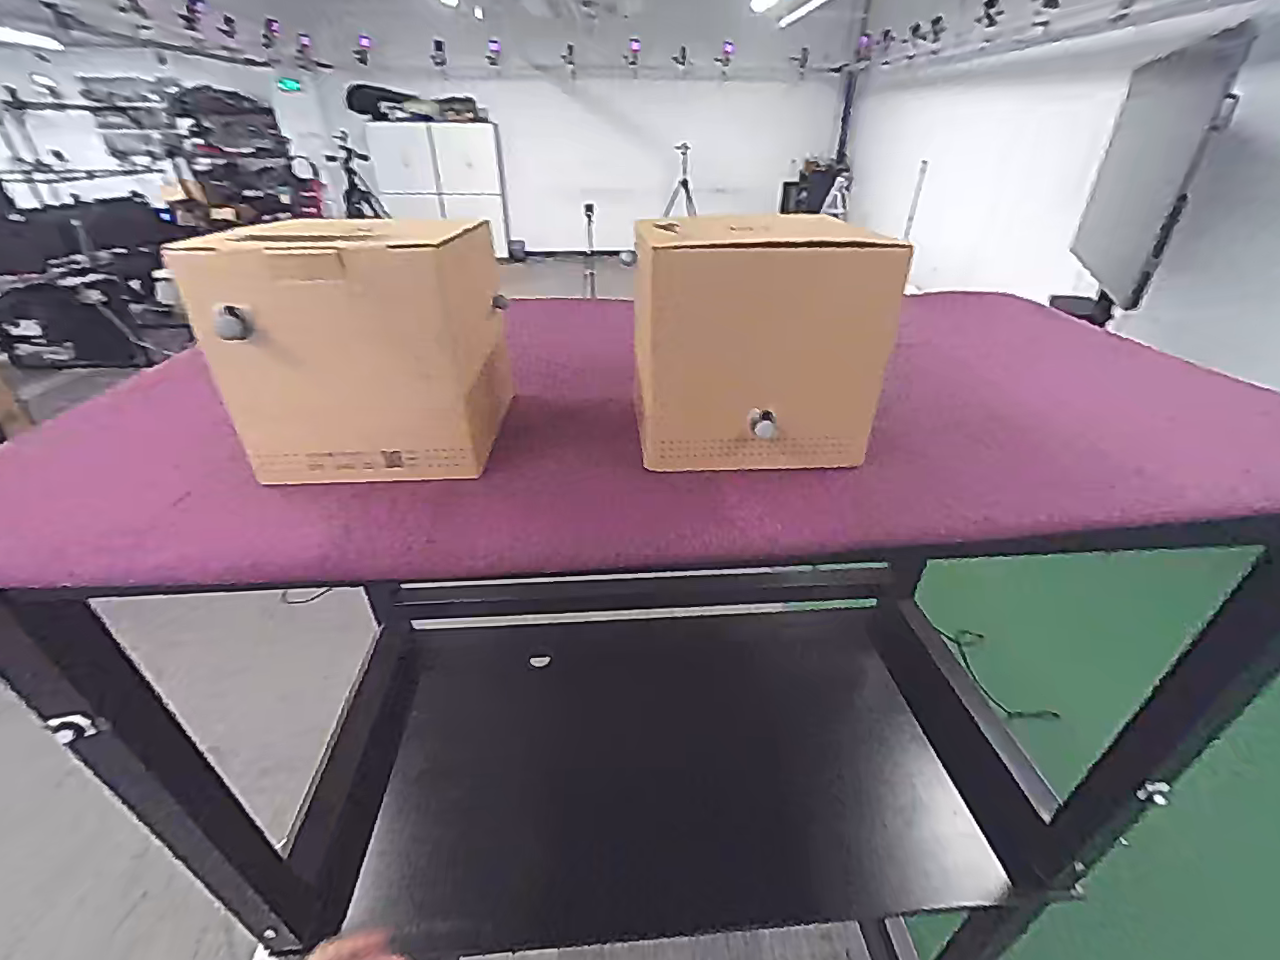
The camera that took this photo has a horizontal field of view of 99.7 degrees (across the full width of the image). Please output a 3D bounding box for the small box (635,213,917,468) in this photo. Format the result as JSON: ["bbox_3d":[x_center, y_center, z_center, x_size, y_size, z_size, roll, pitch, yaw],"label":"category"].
[{"bbox_3d":[0.087,-0.119,0.450,0.179,0.176,0.168,-1,31,-3],"label":"small box"}]
